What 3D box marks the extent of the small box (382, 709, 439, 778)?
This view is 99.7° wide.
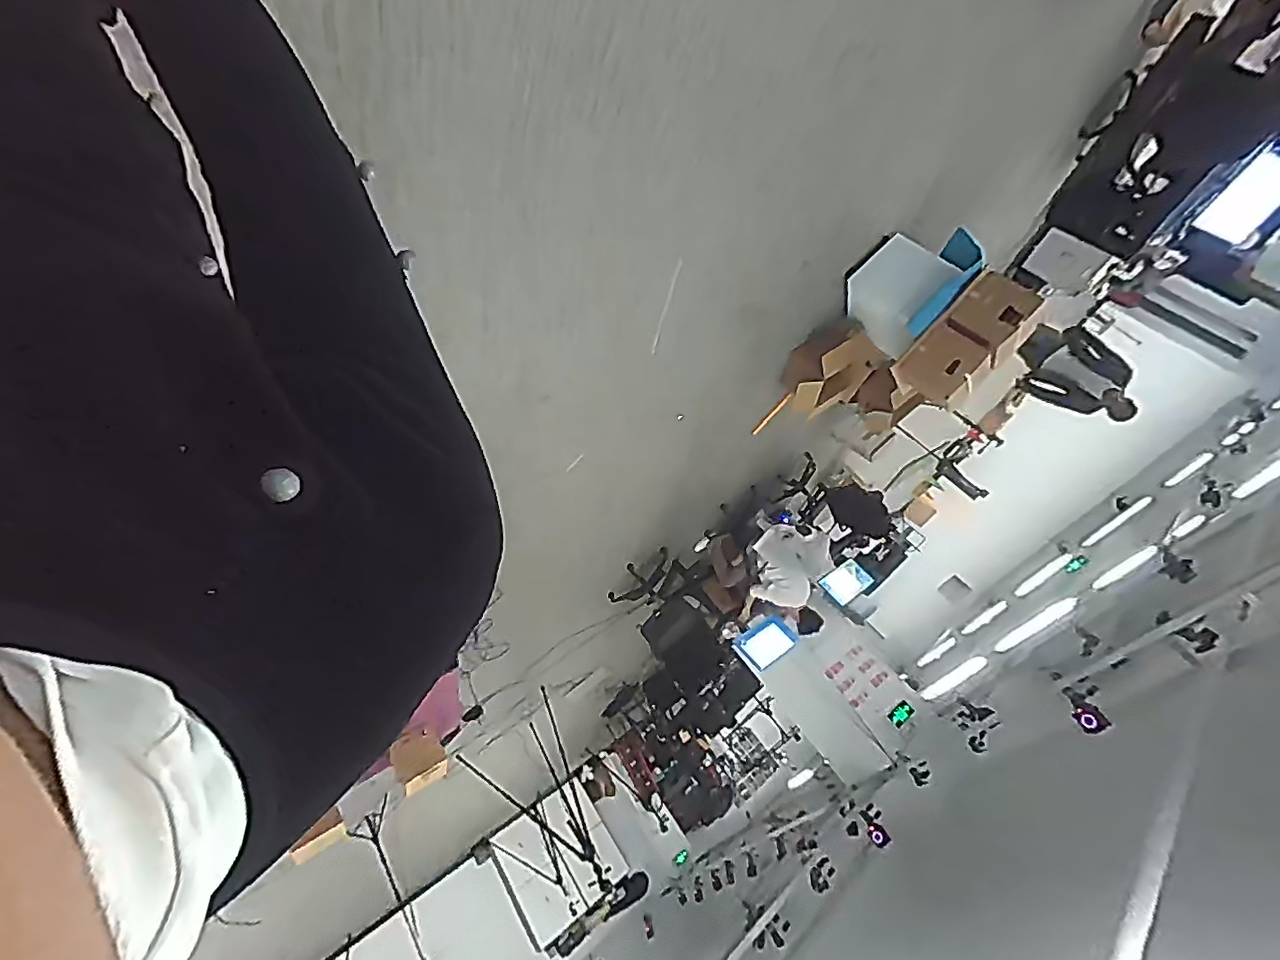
[{"bbox_3d":[-0.930,1.057,2.184,0.168,0.176,0.179,-20,148,-36],"label":"small box"}]

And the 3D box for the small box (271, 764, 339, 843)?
[{"bbox_3d":[-1.221,1.173,1.972,0.168,0.176,0.179,-20,148,-38],"label":"small box"}]

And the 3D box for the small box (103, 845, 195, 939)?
[{"bbox_3d":[-1.545,1.294,1.706,0.168,0.176,0.179,-22,150,-37],"label":"small box"}]
